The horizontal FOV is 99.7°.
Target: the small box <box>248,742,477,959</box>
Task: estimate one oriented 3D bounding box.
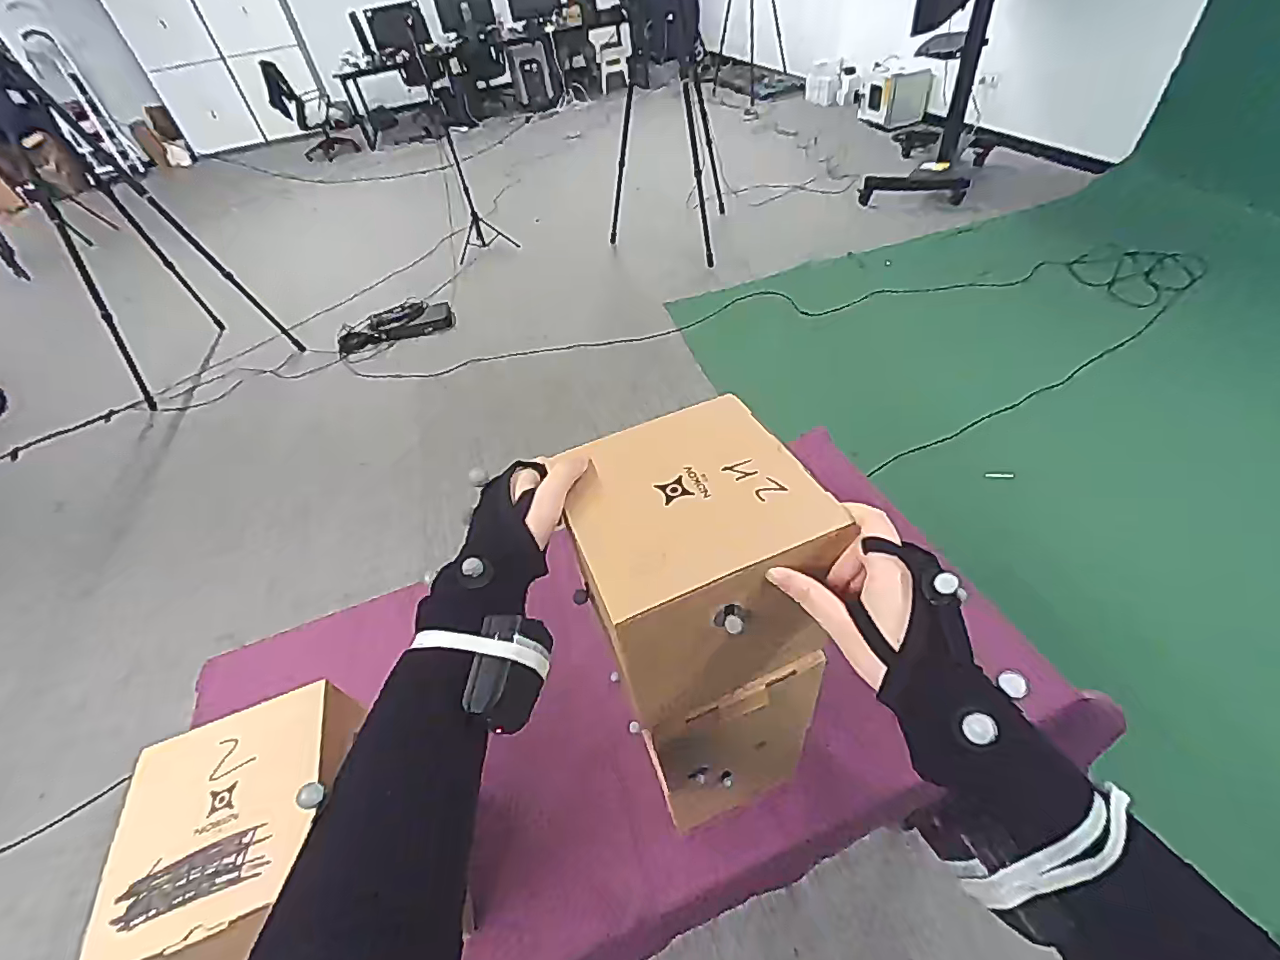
[{"bbox_3d":[-0.302,0.442,0.620,0.168,0.176,0.179,-20,47,-8],"label":"small box"}]

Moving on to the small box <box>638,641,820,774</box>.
[{"bbox_3d":[0.065,0.182,0.569,0.168,0.176,0.179,-21,46,-9],"label":"small box"}]

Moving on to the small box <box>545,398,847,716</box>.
[{"bbox_3d":[0.041,0.065,0.451,0.179,0.176,0.168,-20,47,-11],"label":"small box"}]

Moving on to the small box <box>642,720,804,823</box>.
[{"bbox_3d":[0.086,0.295,0.687,0.168,0.176,0.179,-21,46,-8],"label":"small box"}]
